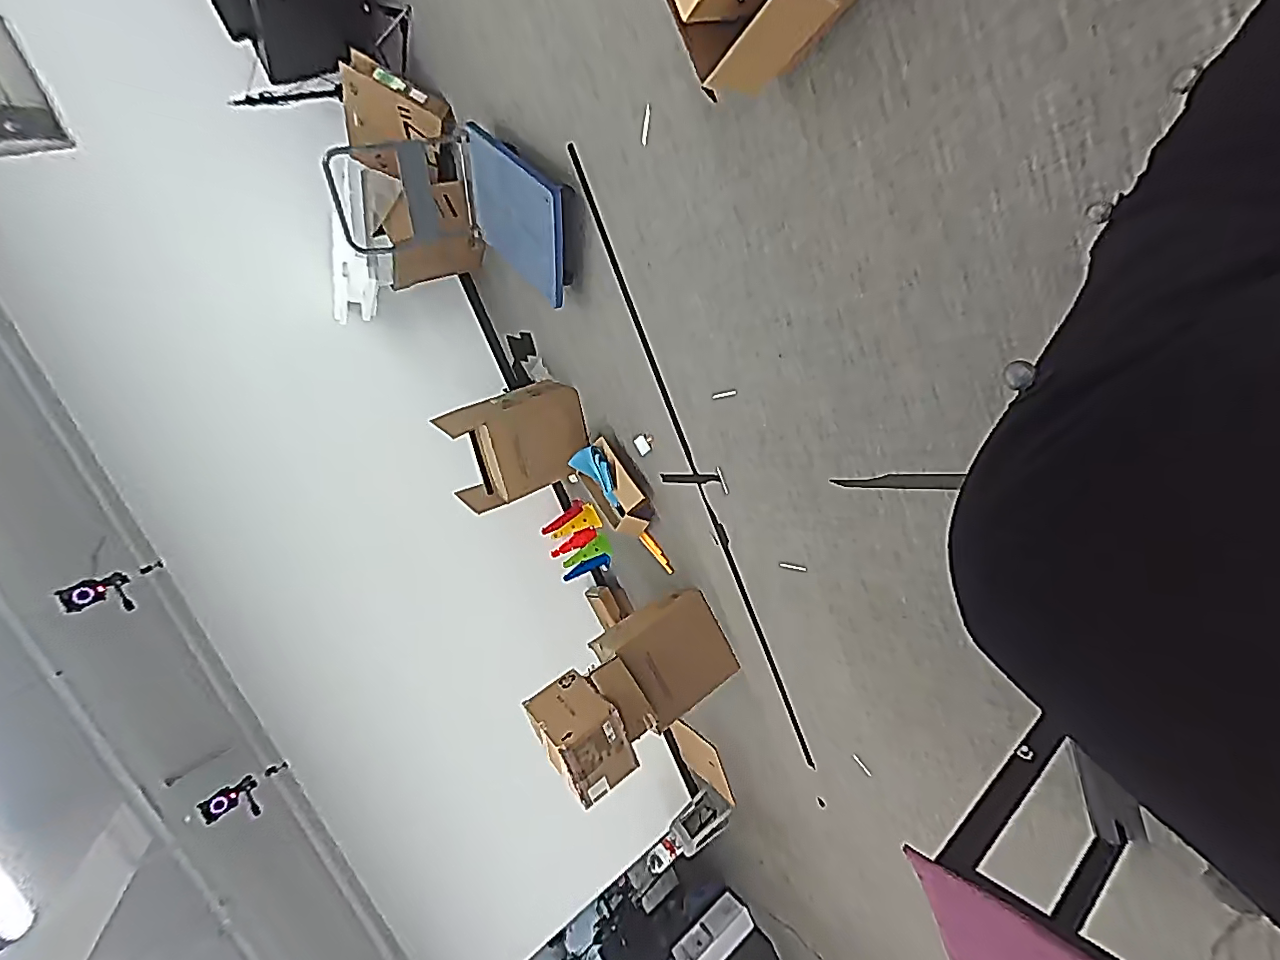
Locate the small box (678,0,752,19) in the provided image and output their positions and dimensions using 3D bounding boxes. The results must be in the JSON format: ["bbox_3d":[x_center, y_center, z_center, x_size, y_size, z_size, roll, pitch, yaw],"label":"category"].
[{"bbox_3d":[0.175,-1.154,1.175,0.168,0.176,0.179,-6,110,63],"label":"small box"}]
